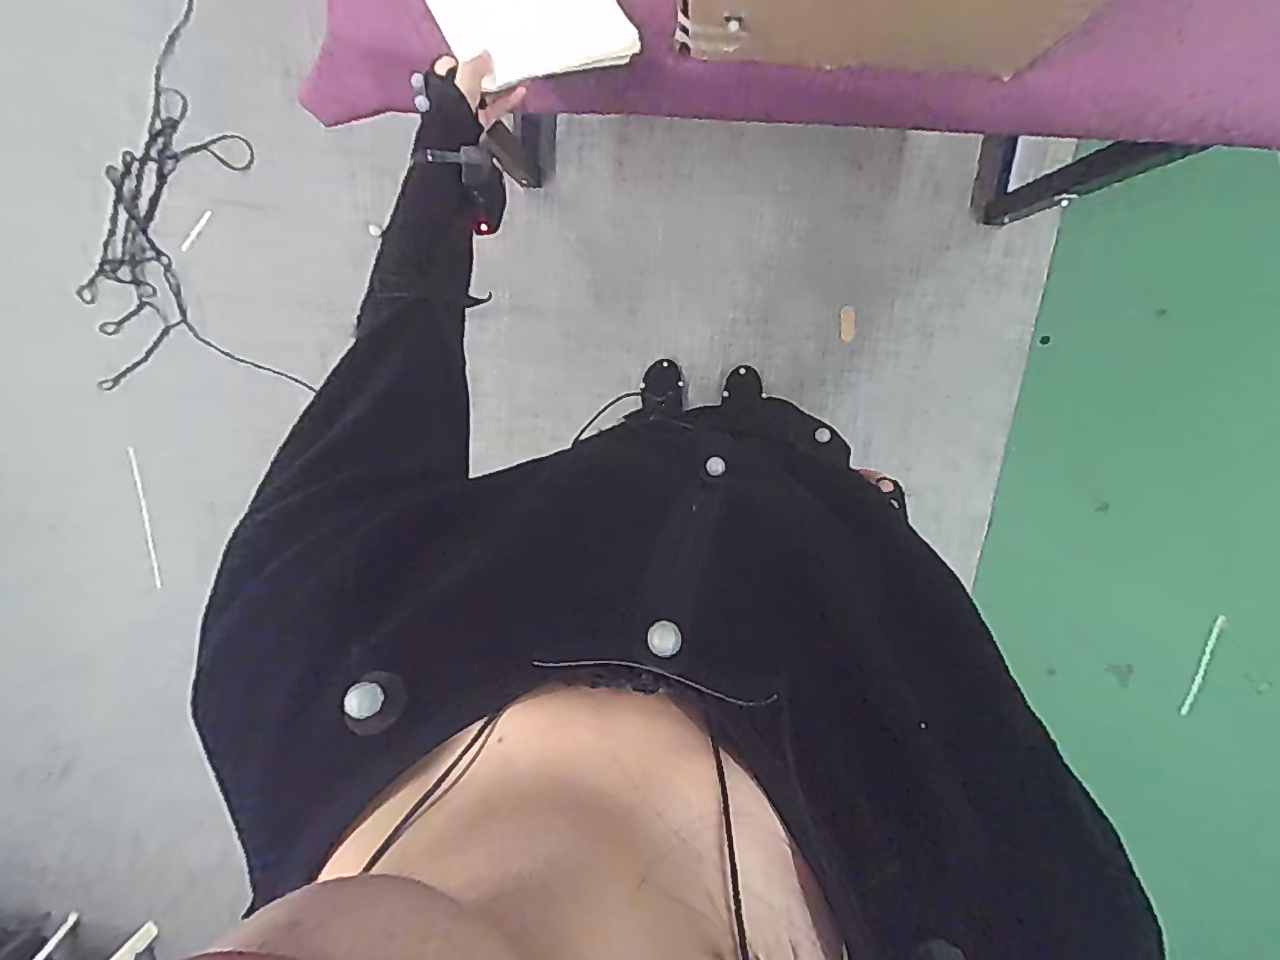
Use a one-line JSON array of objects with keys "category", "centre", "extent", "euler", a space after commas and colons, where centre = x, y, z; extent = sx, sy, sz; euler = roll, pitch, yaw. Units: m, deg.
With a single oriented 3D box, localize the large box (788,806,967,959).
[{"category": "large box", "centre": [0.694, 1.244, 1.624], "extent": [0.408, 0.320, 0.320], "euler": [-9, 104, 6]}]
